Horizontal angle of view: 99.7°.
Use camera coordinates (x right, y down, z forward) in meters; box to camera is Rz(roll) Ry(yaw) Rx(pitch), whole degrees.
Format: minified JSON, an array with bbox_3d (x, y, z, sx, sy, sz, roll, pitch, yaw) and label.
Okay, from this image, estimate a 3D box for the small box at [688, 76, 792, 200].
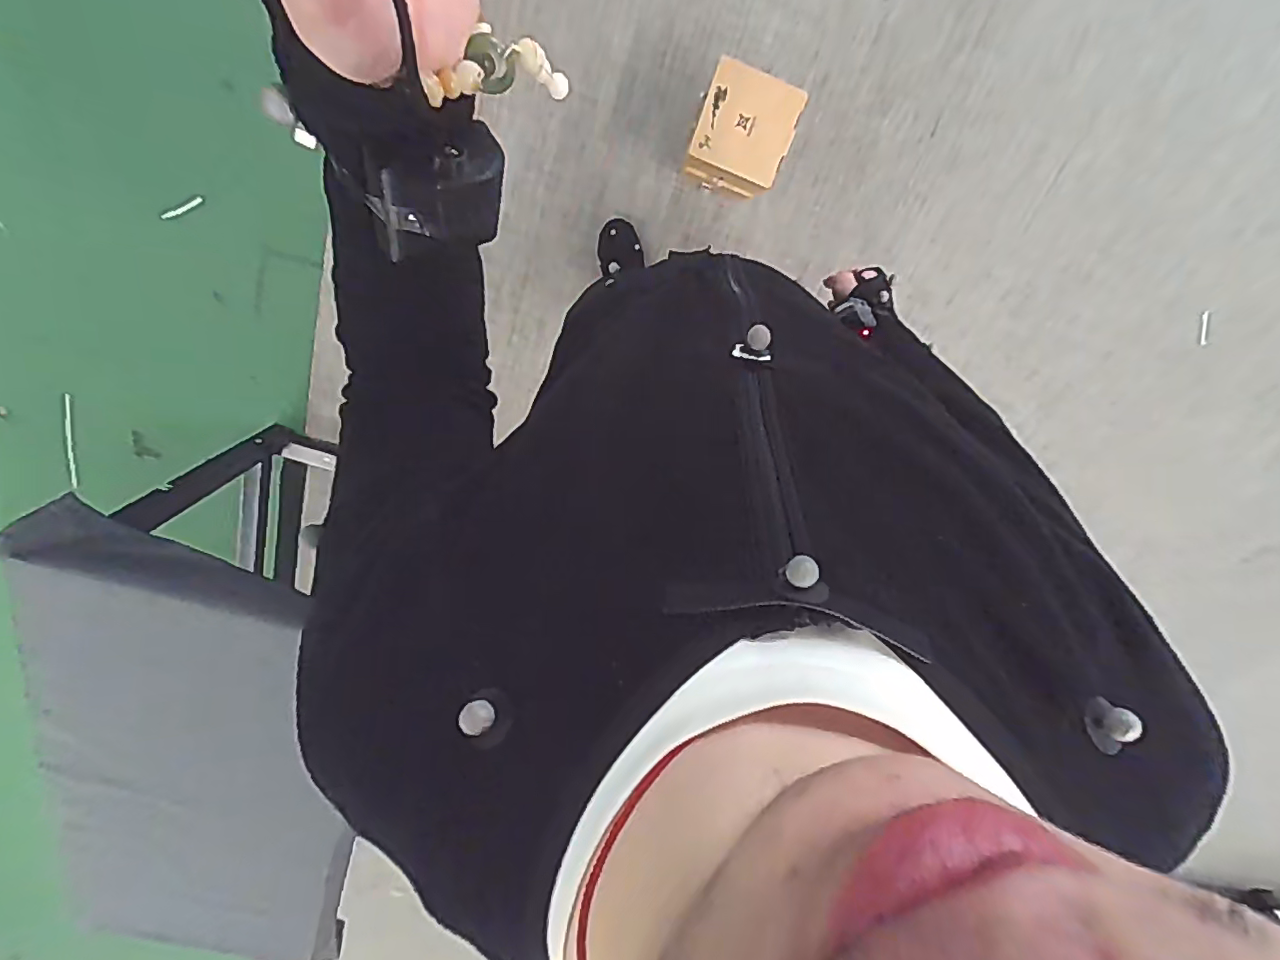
[{"bbox_3d":[0.212,-0.752,1.211,0.168,0.176,0.179,21,113,-7],"label":"small box"}]
